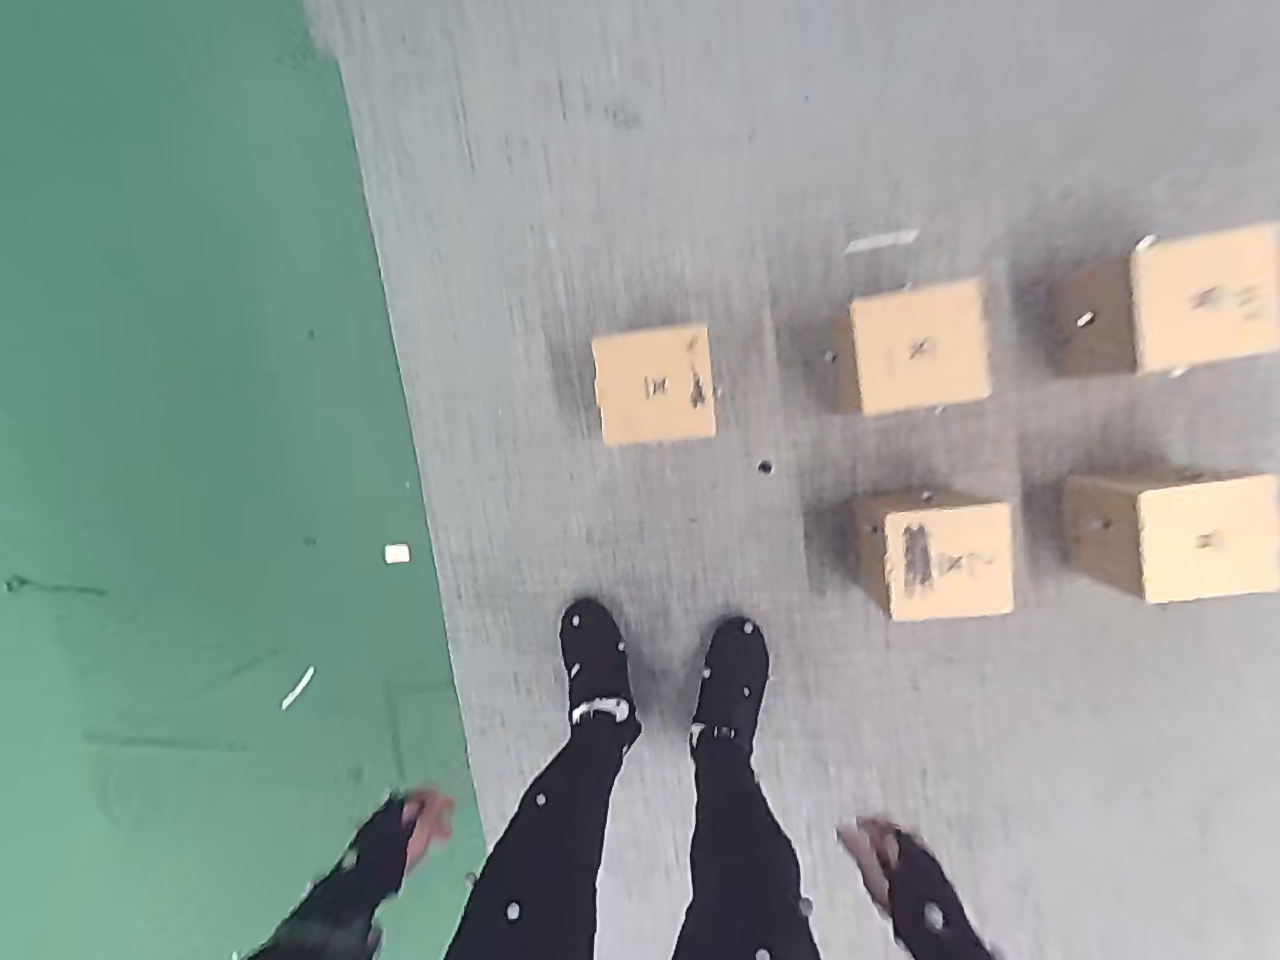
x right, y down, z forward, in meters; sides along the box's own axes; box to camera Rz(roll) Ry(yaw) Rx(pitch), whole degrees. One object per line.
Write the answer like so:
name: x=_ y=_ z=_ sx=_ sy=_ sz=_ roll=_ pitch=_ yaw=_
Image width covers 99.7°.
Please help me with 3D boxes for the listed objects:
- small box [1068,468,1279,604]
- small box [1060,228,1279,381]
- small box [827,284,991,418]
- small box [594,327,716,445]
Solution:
small box: x=0.797 y=0.078 z=0.828 sx=0.179 sy=0.176 sz=0.168 roll=-9 pitch=95 yaw=6
small box: x=0.756 y=-0.243 z=0.793 sx=0.179 sy=0.176 sz=0.168 roll=-9 pitch=96 yaw=7
small box: x=0.405 y=-0.190 z=0.839 sx=0.179 sy=0.176 sz=0.168 roll=-7 pitch=95 yaw=7
small box: x=0.033 y=-0.146 z=0.885 sx=0.179 sy=0.176 sz=0.168 roll=-5 pitch=96 yaw=7
